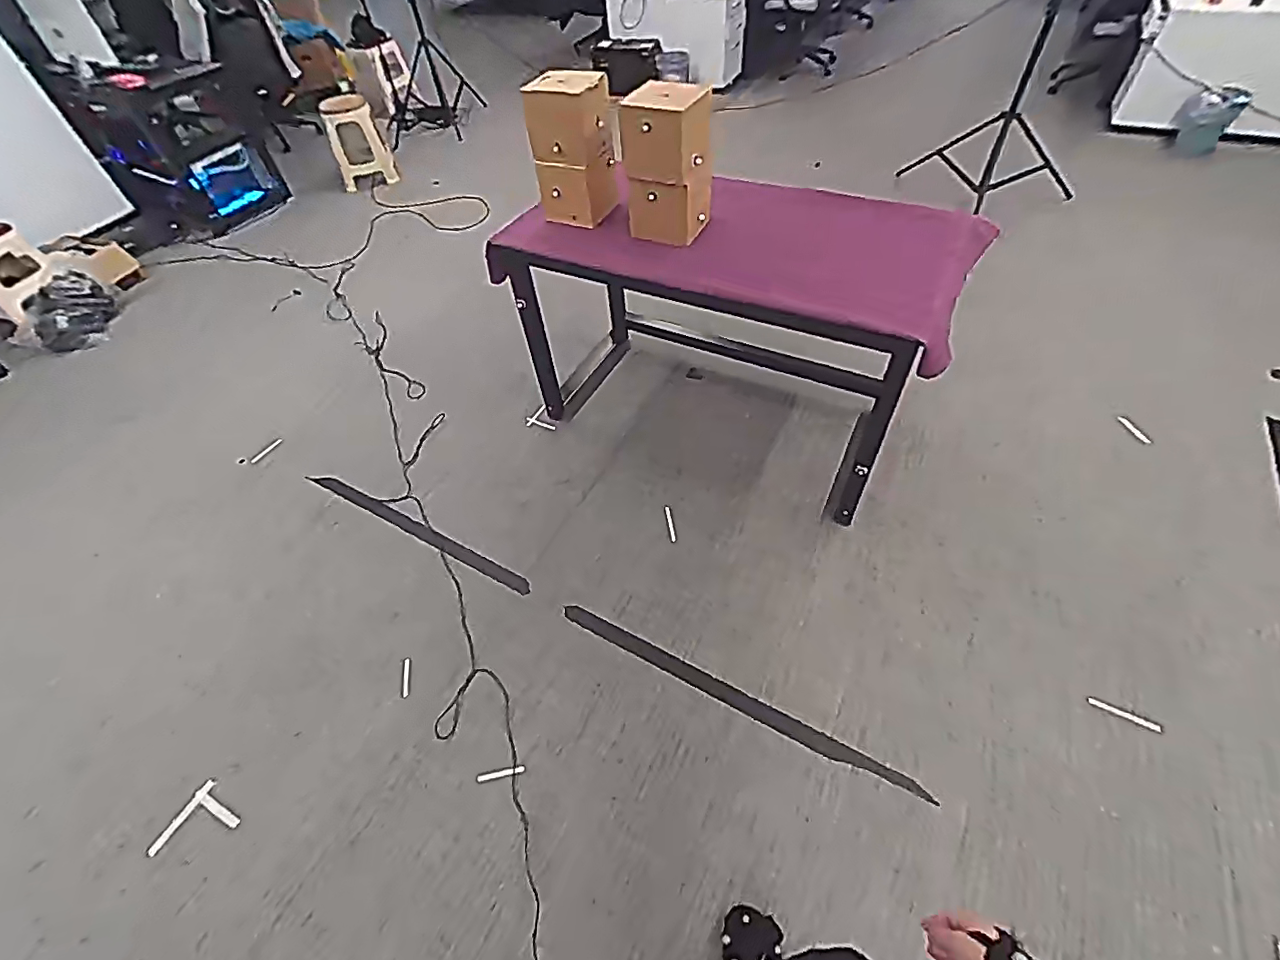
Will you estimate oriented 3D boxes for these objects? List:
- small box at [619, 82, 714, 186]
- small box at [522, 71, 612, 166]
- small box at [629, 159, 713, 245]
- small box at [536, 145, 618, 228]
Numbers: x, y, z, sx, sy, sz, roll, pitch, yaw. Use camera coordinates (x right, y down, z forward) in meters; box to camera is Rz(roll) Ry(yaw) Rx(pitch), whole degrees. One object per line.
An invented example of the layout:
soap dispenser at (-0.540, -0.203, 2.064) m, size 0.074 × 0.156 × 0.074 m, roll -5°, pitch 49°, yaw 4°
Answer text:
small box at (0.068, -0.859, 1.346) m, size 0.179 × 0.176 × 0.168 m, roll 22°, pitch 58°, yaw 19°
small box at (-0.187, -0.972, 1.457) m, size 0.179 × 0.176 × 0.168 m, roll 17°, pitch 54°, yaw 17°
small box at (0.086, -0.767, 1.479) m, size 0.179 × 0.176 × 0.168 m, roll 20°, pitch 56°, yaw 18°
small box at (-0.175, -0.862, 1.579) m, size 0.168 × 0.176 × 0.179 m, roll 18°, pitch 54°, yaw 18°
